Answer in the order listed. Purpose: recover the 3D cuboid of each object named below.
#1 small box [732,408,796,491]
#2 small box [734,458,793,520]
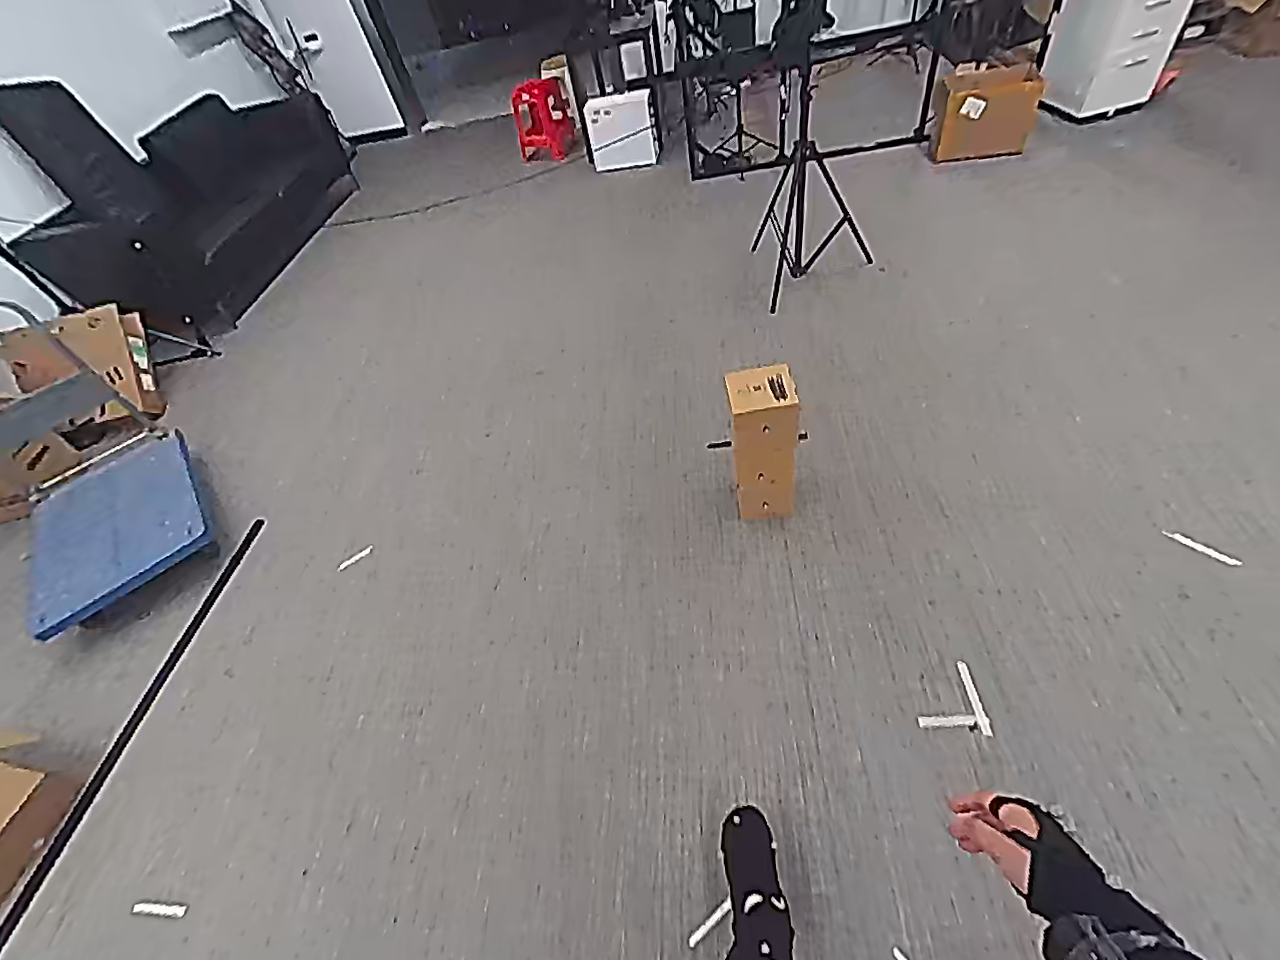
[{"bbox_3d":[0.370,-0.090,1.632,0.168,0.176,0.179,-7,49,8],"label":"small box"},{"bbox_3d":[0.399,0.016,1.752,0.168,0.176,0.179,-7,48,7],"label":"small box"}]
